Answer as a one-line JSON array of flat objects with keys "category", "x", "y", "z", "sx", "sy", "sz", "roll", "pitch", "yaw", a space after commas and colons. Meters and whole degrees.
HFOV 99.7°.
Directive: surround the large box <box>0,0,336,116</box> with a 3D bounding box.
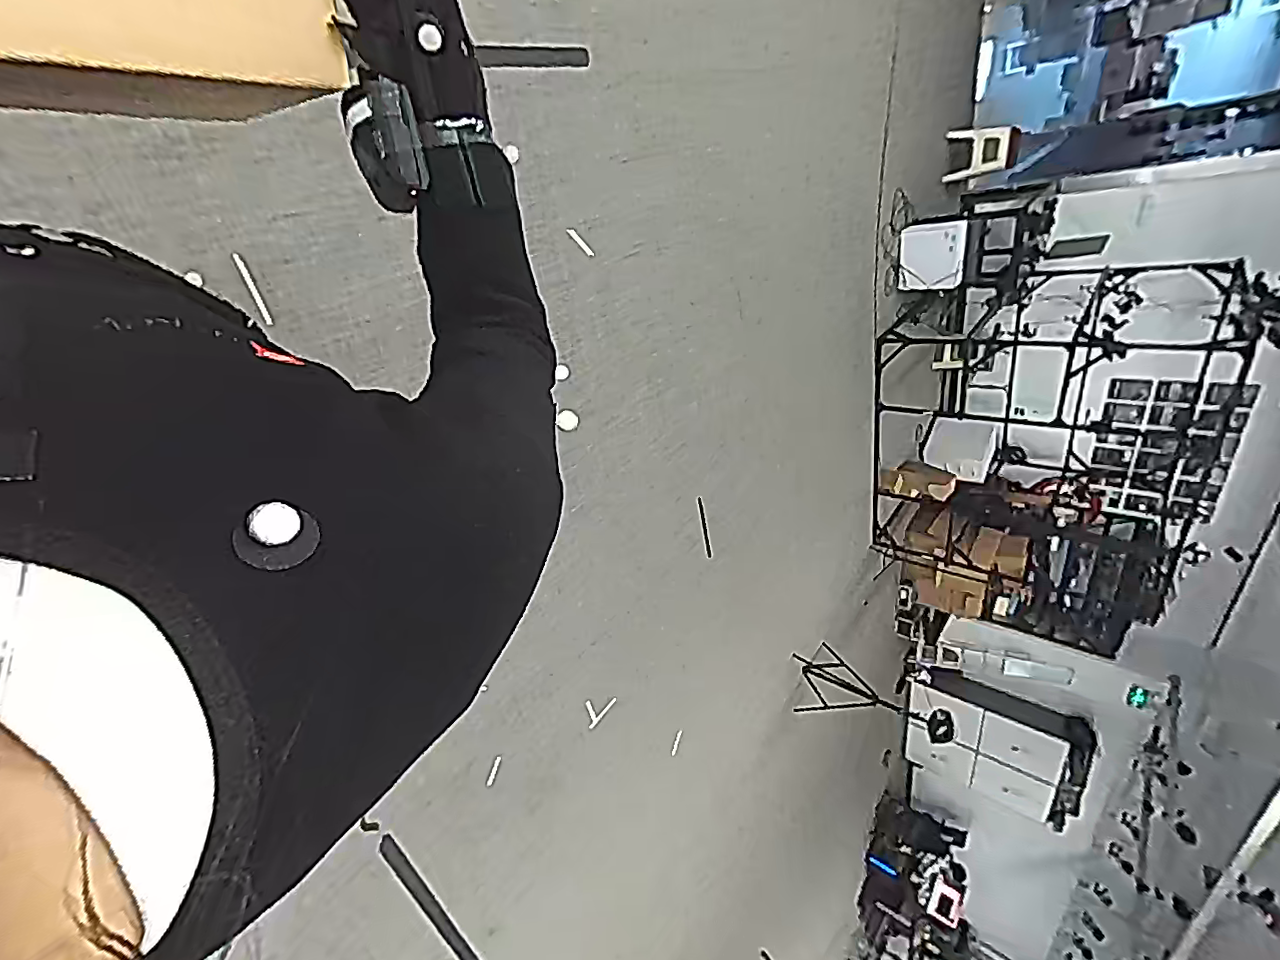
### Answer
[{"category": "large box", "x": -0.437, "y": -0.368, "z": 0.243, "sx": 0.408, "sy": 0.320, "sz": 0.320, "roll": -25, "pitch": 129, "yaw": -37}]
